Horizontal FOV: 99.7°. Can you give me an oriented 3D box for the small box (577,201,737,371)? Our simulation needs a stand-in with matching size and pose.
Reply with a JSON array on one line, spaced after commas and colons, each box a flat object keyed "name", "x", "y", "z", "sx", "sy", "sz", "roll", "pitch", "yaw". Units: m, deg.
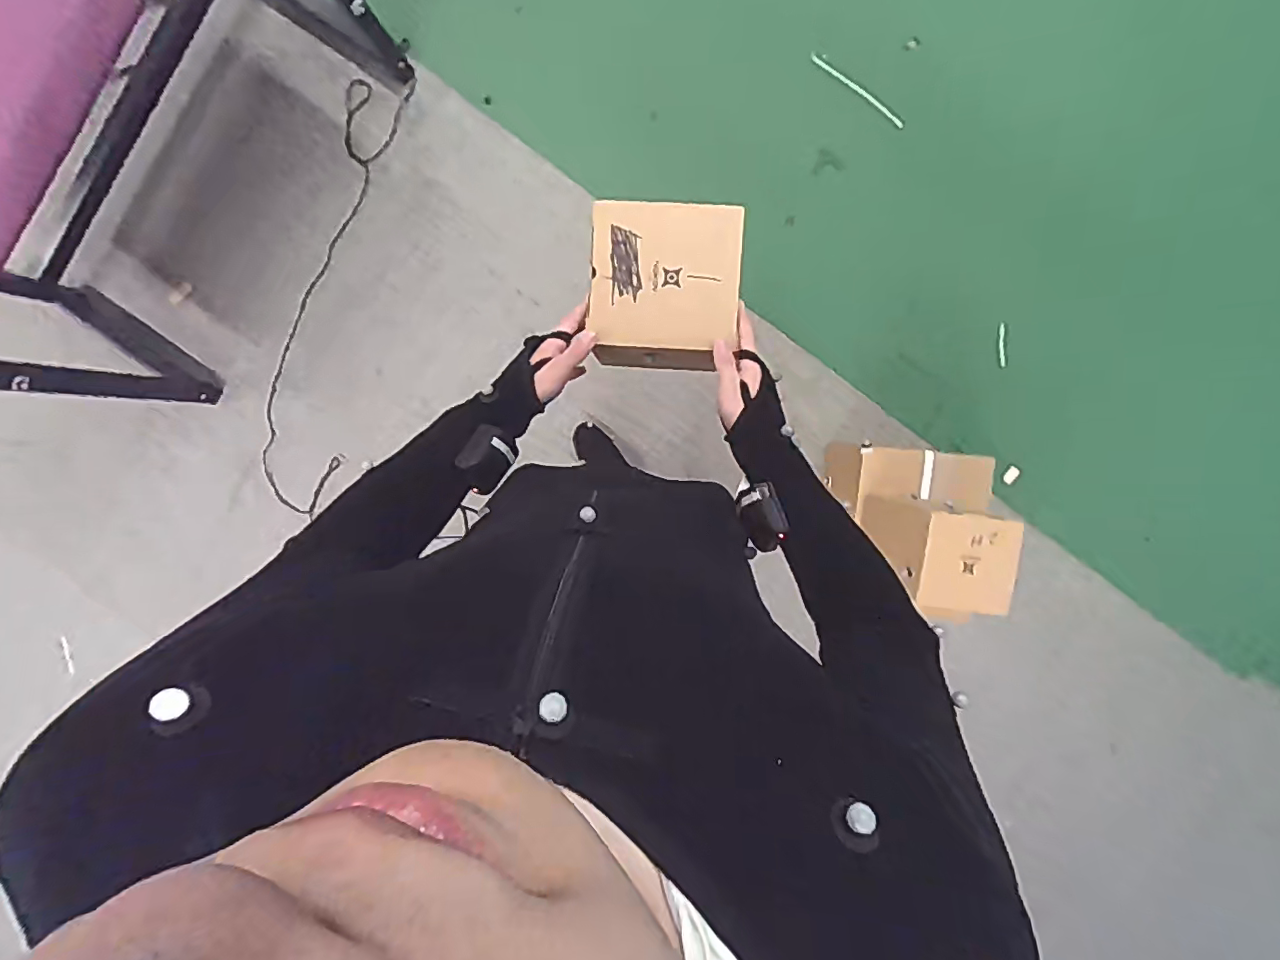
[{"name": "small box", "x": 0.022, "y": -0.235, "z": 0.694, "sx": 0.179, "sy": 0.176, "sz": 0.168, "roll": 3, "pitch": 94, "yaw": 1}]

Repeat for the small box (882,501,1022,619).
[{"name": "small box", "x": 0.591, "y": 0.147, "z": 1.049, "sx": 0.168, "sy": 0.176, "sz": 0.179, "roll": 7, "pitch": 96, "yaw": 2}]

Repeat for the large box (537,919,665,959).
[{"name": "large box", "x": -0.110, "y": 1.652, "z": 1.639, "sx": 0.408, "sy": 0.320, "sz": 0.320, "roll": -22, "pitch": 95, "yaw": 4}]

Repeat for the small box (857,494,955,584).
[{"name": "small box", "x": 0.601, "y": 0.133, "z": 1.212, "sx": 0.168, "sy": 0.176, "sz": 0.179, "roll": 5, "pitch": 95, "yaw": 3}]
